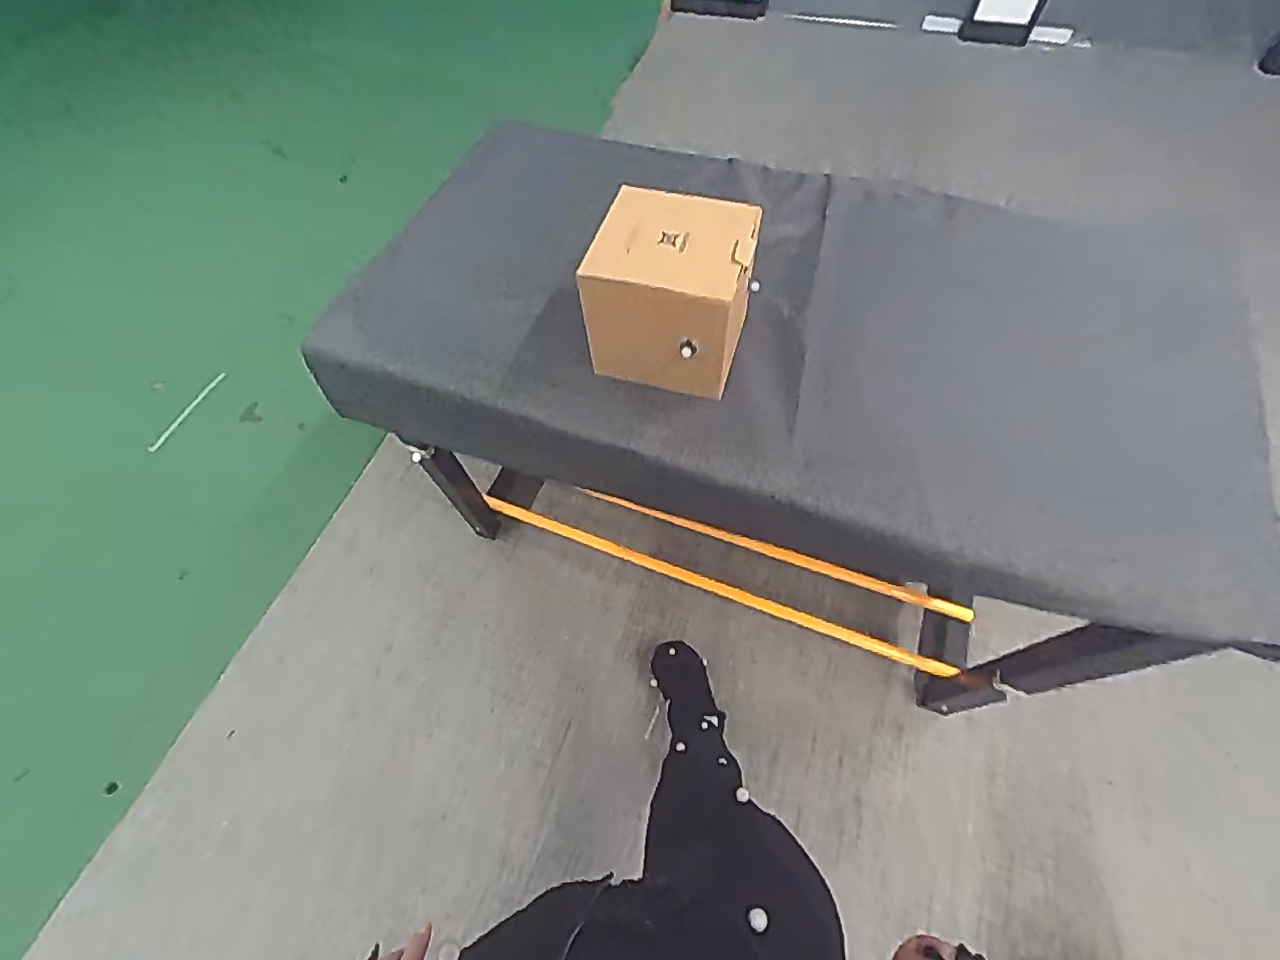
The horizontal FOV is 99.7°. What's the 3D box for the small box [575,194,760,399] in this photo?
[{"bbox_3d":[0.038,-0.223,0.680,0.179,0.176,0.168,13,61,11],"label":"small box"}]
